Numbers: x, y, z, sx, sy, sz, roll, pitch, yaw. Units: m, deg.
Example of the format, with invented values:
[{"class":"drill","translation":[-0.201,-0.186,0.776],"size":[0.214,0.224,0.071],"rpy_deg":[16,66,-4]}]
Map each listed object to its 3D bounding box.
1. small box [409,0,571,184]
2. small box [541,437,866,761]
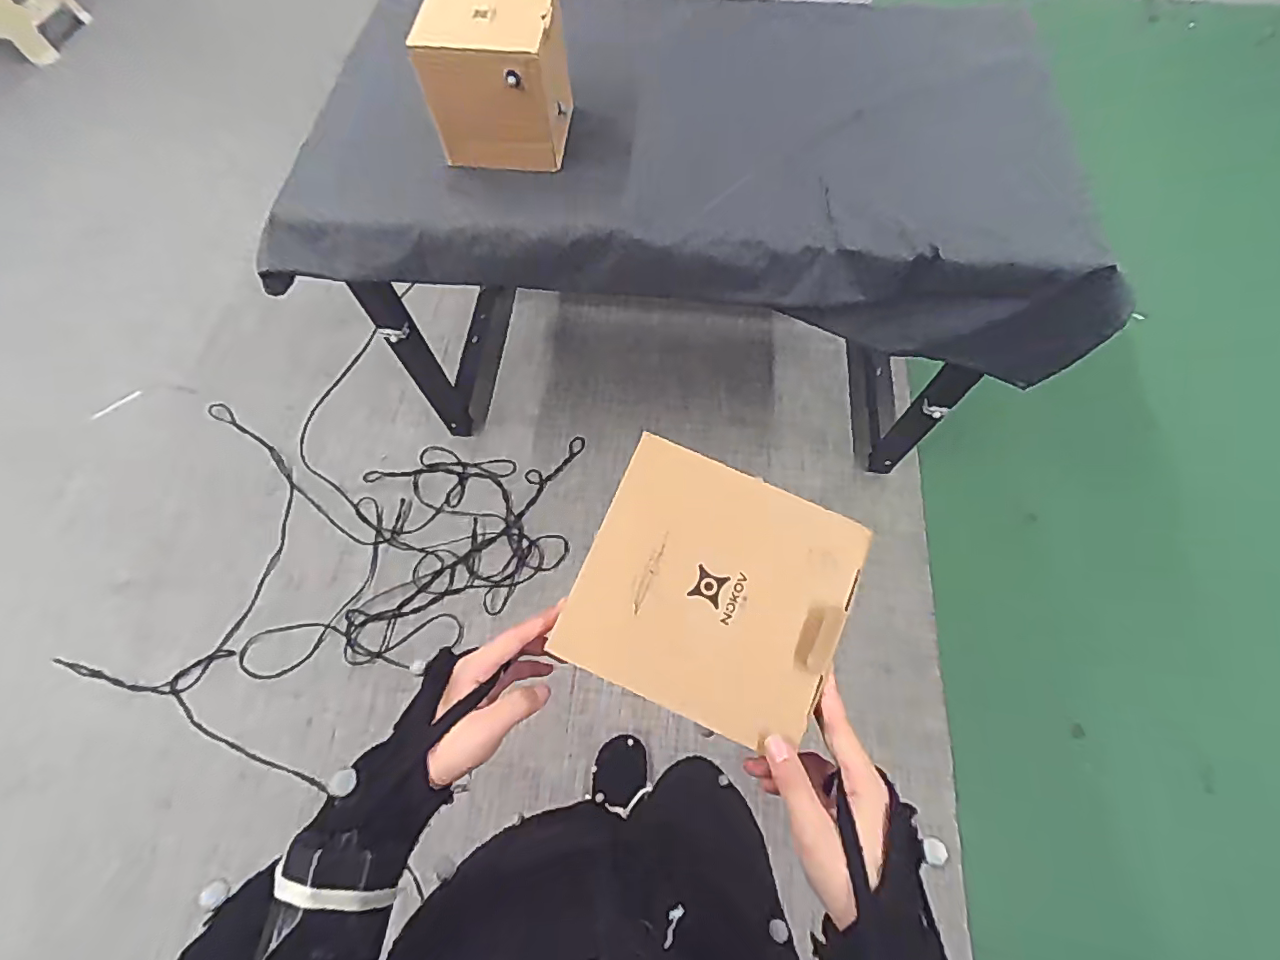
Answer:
[{"class":"small box","translation":[-0.209,-0.571,0.807],"size":[0.179,0.176,0.168],"rpy_deg":[4,65,2]},{"class":"small box","translation":[0.046,0.091,0.439],"size":[0.179,0.176,0.168],"rpy_deg":[22,76,6]}]
